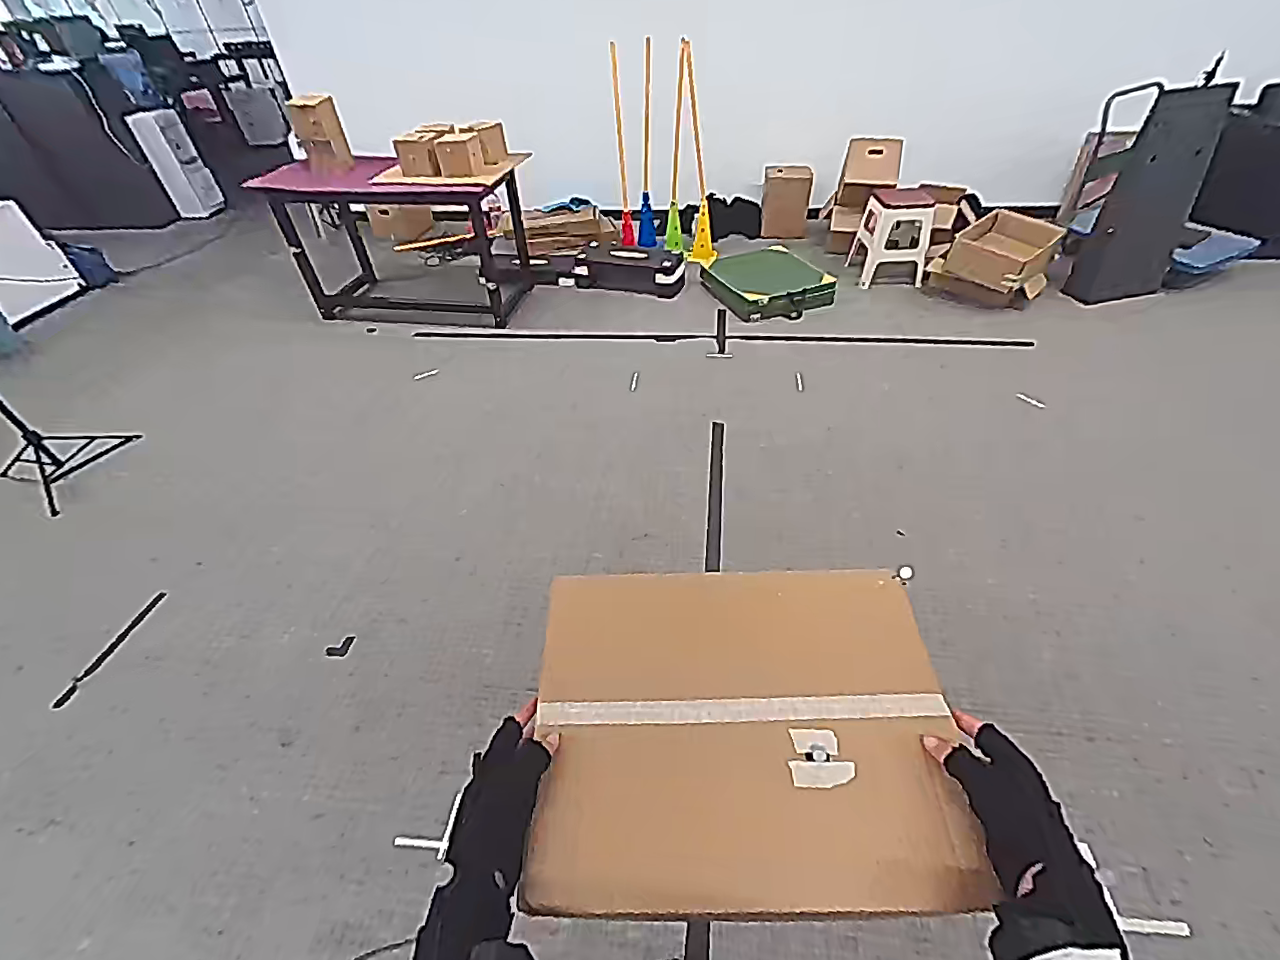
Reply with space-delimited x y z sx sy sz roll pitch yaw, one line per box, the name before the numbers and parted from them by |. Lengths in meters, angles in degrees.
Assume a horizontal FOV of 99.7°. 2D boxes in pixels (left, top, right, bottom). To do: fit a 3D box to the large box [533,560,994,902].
large box | 0.106 0.315 0.668 0.408 0.320 0.320 -1 51 1
